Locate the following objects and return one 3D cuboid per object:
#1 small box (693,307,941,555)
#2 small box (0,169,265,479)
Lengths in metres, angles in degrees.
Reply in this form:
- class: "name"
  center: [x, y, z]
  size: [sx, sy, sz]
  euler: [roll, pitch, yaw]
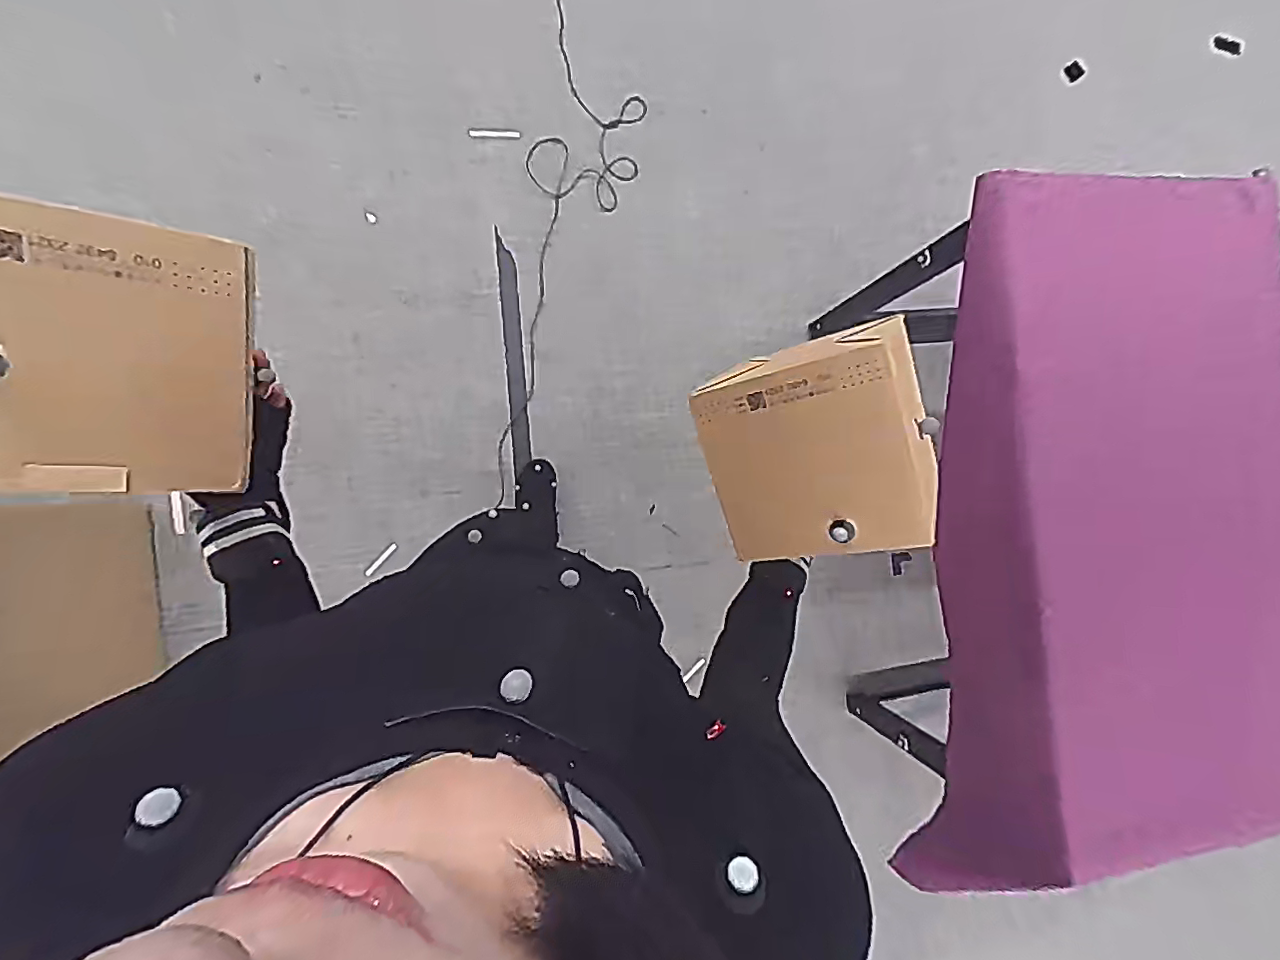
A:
- class: "small box"
  center: [0.172, -0.051, 0.503]
  size: [0.168, 0.179, 0.176]
  euler: [-12, 106, 33]
- class: "small box"
  center: [-0.366, -0.108, 0.377]
  size: [0.168, 0.179, 0.176]
  euler: [3, 108, -33]
